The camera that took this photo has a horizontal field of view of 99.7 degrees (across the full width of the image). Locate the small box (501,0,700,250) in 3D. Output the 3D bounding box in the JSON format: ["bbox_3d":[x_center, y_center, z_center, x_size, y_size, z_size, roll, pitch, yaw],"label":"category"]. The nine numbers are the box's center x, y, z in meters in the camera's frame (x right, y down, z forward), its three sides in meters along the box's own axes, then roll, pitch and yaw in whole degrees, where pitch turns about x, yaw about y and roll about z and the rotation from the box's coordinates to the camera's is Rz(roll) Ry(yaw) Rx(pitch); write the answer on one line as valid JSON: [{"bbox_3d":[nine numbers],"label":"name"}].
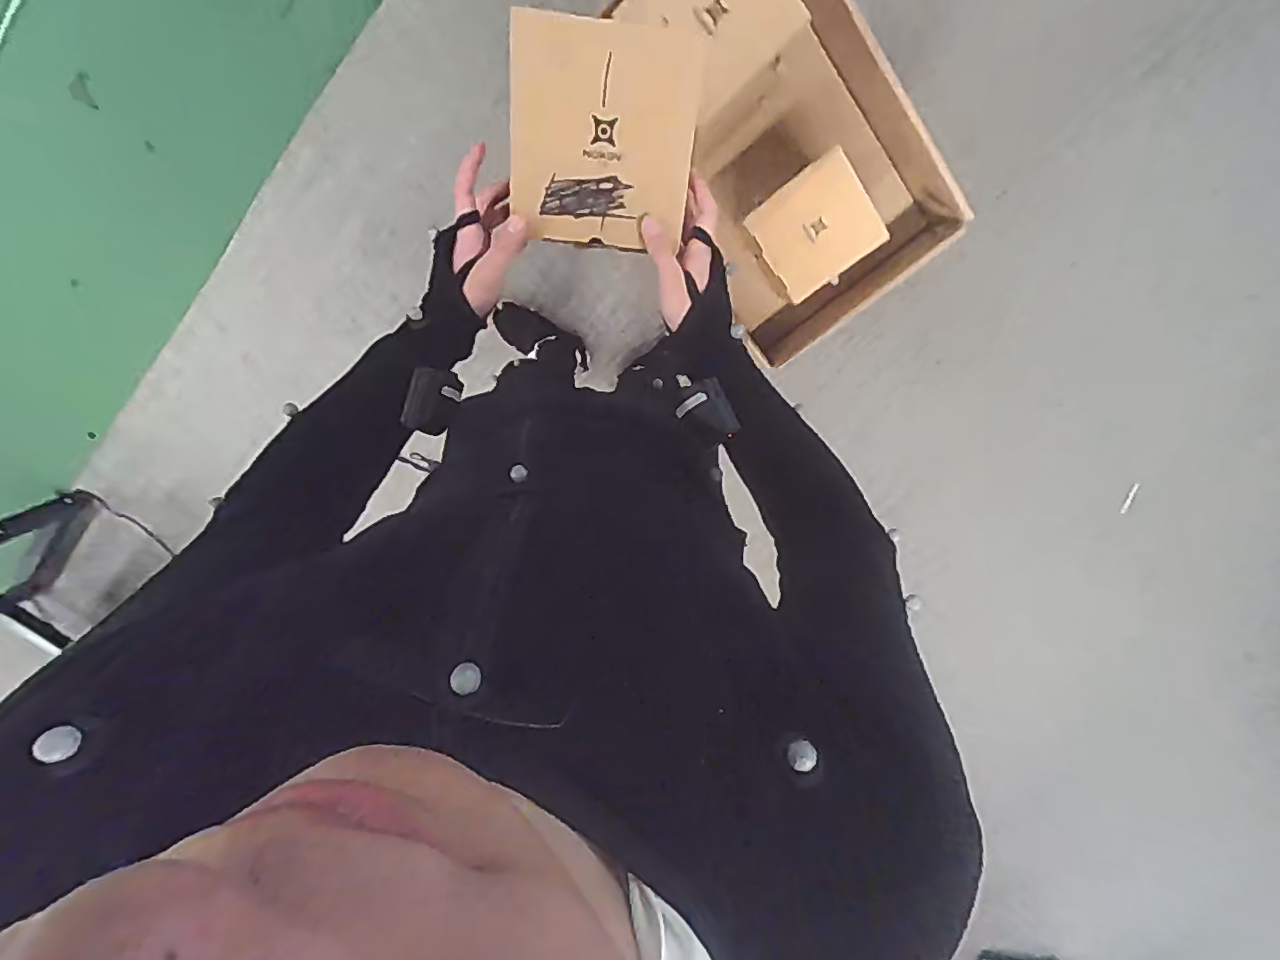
[{"bbox_3d":[-0.041,-0.341,0.547,0.168,0.176,0.179,4,116,-4],"label":"small box"}]

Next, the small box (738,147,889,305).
[{"bbox_3d":[0.287,-0.432,0.935,0.179,0.176,0.168,-34,106,17],"label":"small box"}]

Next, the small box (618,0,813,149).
[{"bbox_3d":[0.091,-0.579,0.710,0.179,0.176,0.168,-38,104,17],"label":"small box"}]
